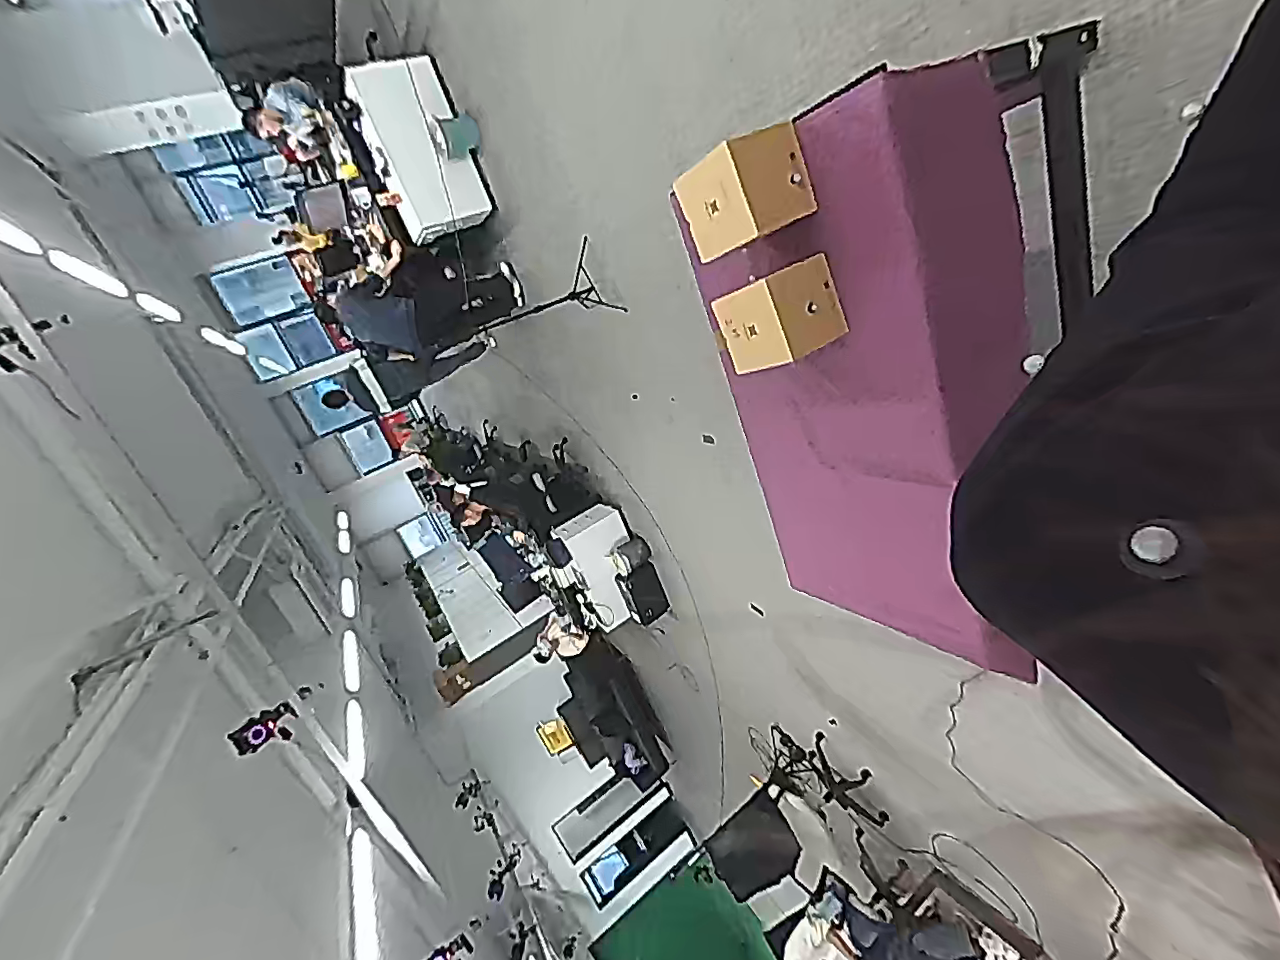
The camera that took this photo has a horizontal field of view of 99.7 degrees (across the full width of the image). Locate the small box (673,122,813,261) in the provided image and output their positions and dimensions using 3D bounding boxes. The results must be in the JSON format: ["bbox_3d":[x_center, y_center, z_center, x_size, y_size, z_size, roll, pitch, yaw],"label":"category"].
[{"bbox_3d":[0.198,-0.550,1.042,0.179,0.176,0.168,9,128,63],"label":"small box"}]

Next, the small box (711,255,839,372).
[{"bbox_3d":[0.285,-0.341,1.119,0.179,0.176,0.168,6,123,63],"label":"small box"}]
